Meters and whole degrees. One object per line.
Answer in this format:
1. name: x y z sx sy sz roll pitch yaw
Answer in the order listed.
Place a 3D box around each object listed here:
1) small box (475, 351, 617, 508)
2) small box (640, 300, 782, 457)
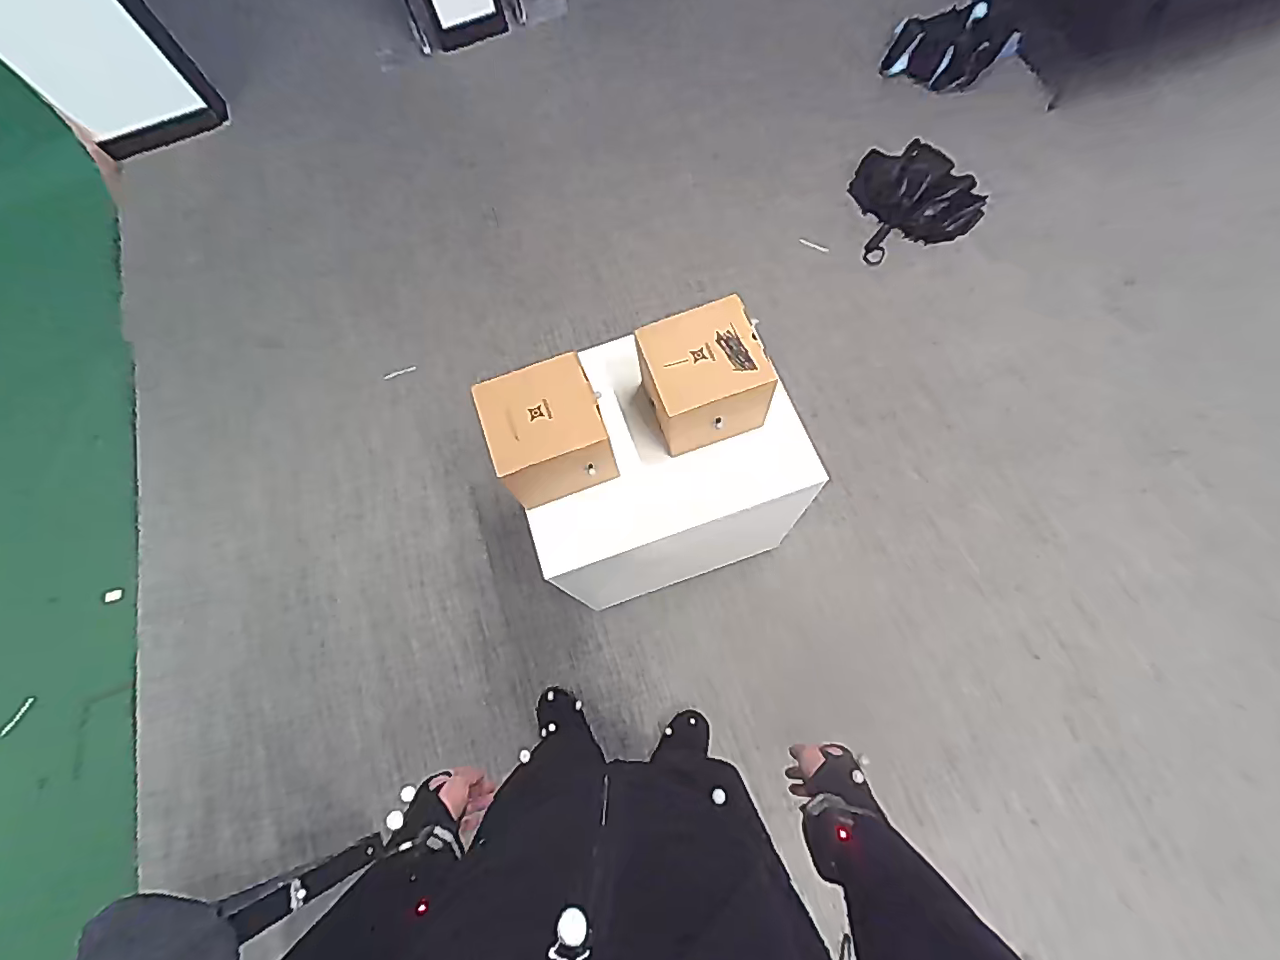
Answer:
1. small box: -0.143 -0.075 0.878 0.179 0.176 0.168 -20 69 -4
2. small box: 0.109 -0.160 0.894 0.179 0.176 0.168 -18 70 -2
